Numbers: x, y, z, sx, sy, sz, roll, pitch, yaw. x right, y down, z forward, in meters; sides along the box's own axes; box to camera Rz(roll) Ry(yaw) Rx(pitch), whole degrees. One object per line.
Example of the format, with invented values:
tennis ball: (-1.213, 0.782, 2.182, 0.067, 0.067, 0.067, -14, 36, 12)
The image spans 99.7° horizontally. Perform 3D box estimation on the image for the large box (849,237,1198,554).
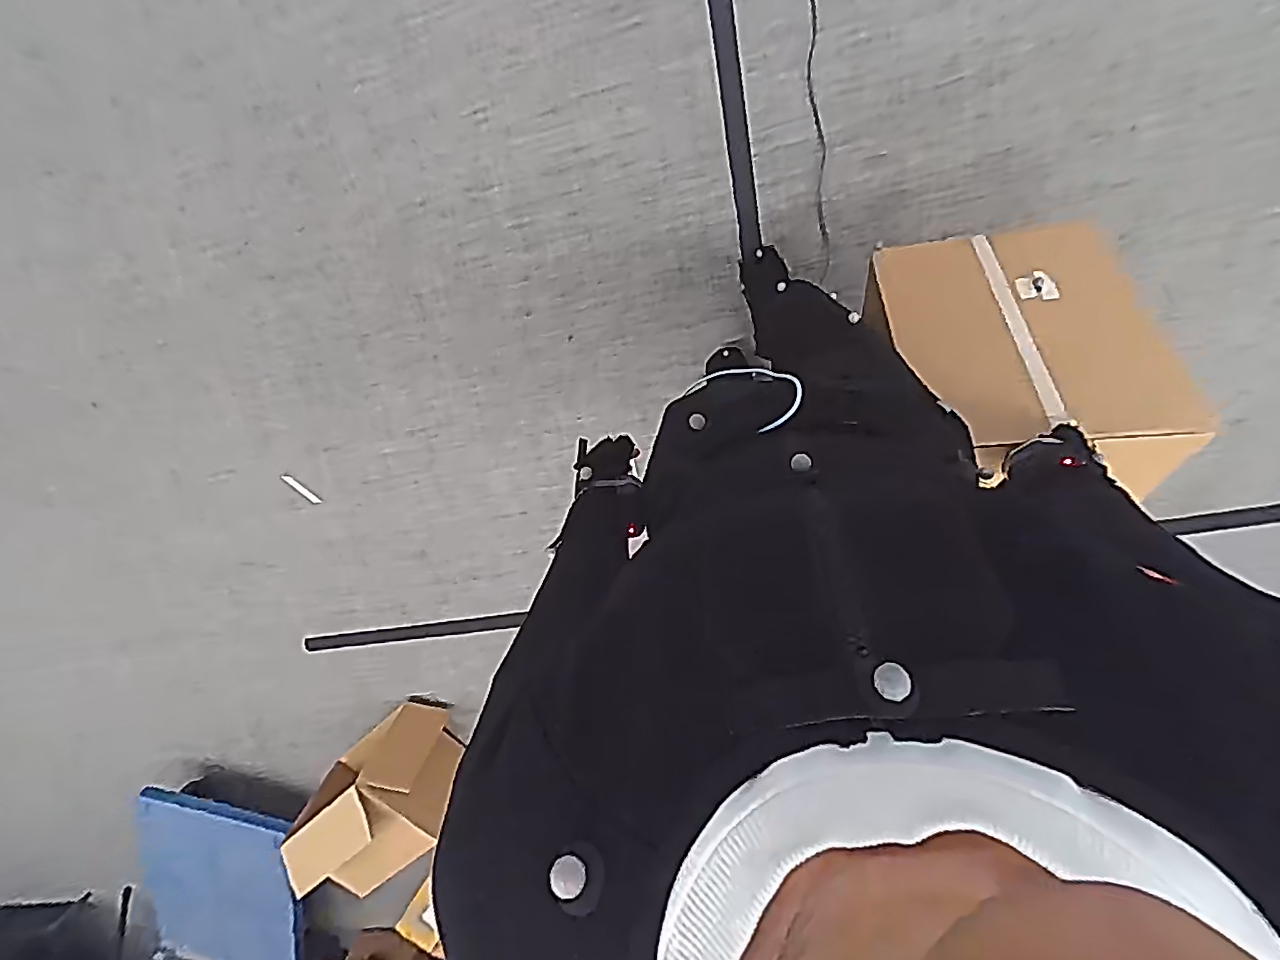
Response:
large box: (0.550, -0.128, 0.893, 0.320, 0.408, 0.320, -3, 146, 11)
